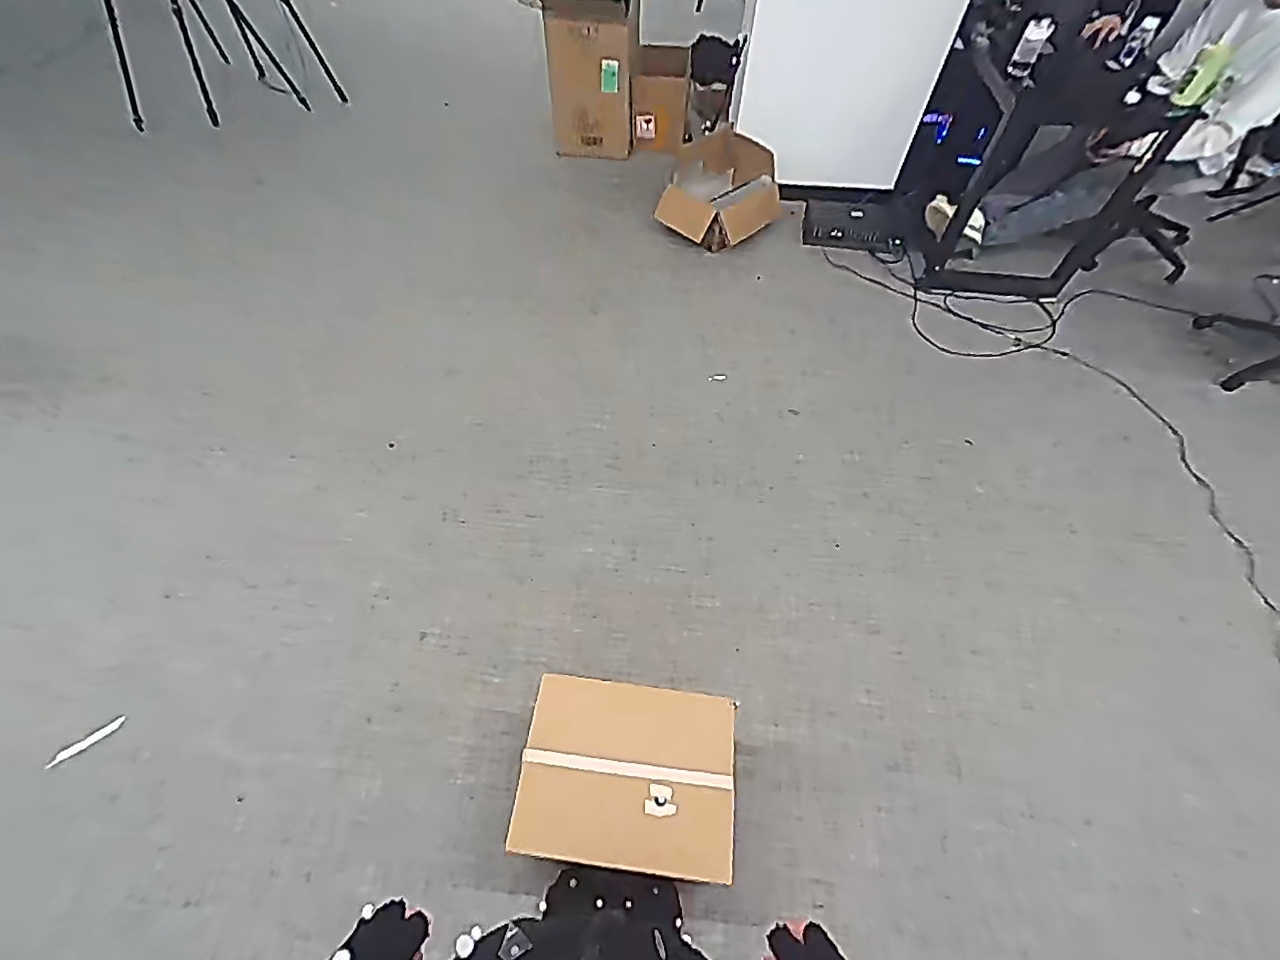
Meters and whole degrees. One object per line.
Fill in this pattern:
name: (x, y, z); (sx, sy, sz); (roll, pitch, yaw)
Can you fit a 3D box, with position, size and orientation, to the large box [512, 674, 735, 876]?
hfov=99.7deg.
large box: (-0.025, 0.636, 1.162); (0.408, 0.320, 0.320); (7, 56, 2)
